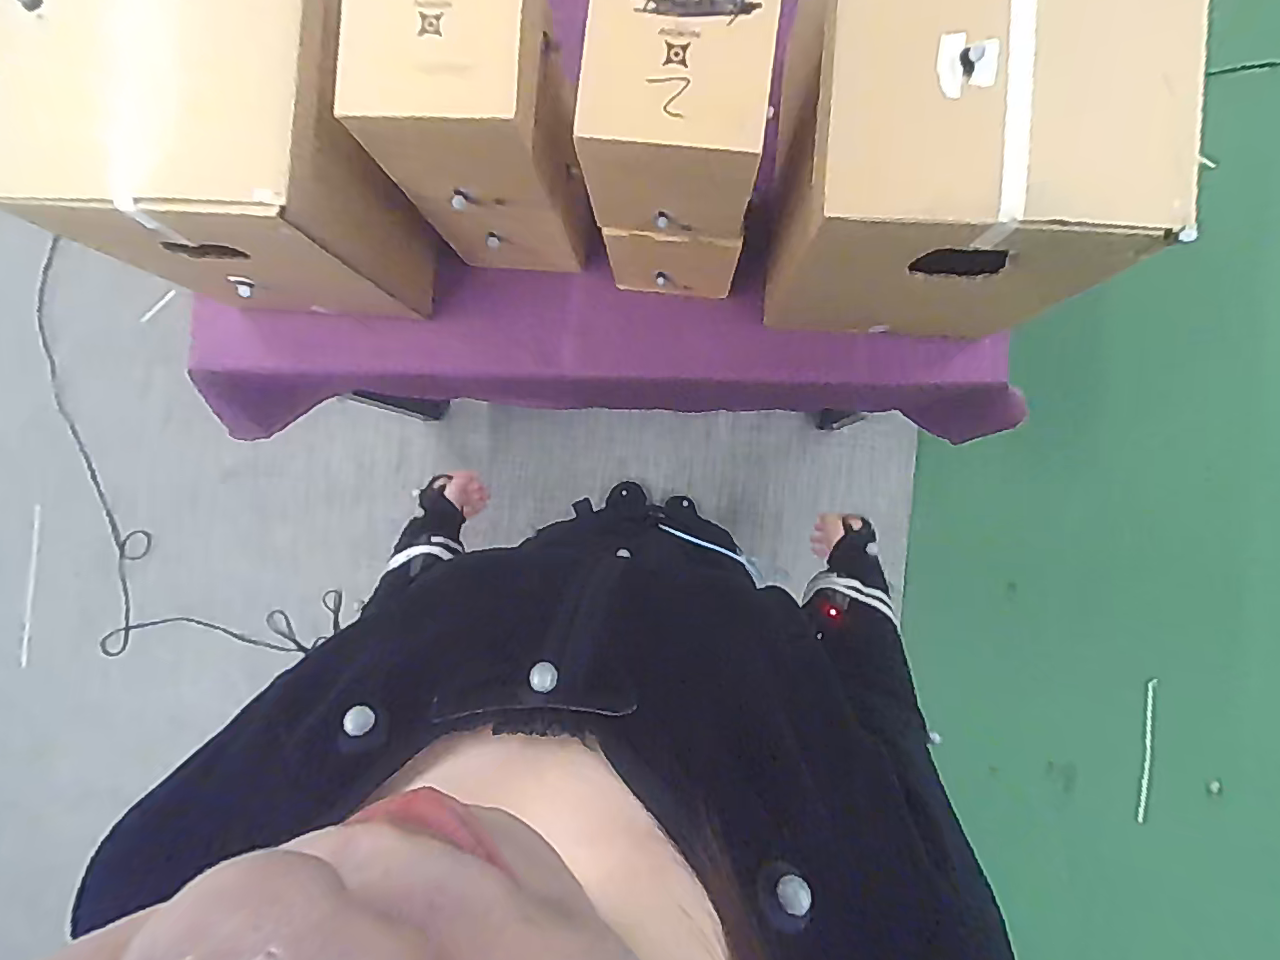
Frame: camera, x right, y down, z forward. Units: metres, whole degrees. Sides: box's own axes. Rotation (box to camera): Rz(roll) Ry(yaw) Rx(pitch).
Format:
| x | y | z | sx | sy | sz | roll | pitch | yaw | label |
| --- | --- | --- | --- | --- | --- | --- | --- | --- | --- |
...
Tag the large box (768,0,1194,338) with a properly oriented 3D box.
| x | y | z | sx | sy | sz | roll | pitch | yaw | label |
| --- | --- | --- | --- | --- | --- | --- | --- | --- | --- |
| 0.345 | -0.415 | 0.635 | 0.320 | 0.320 | 0.408 | 5 | 90 | 3 | large box |
